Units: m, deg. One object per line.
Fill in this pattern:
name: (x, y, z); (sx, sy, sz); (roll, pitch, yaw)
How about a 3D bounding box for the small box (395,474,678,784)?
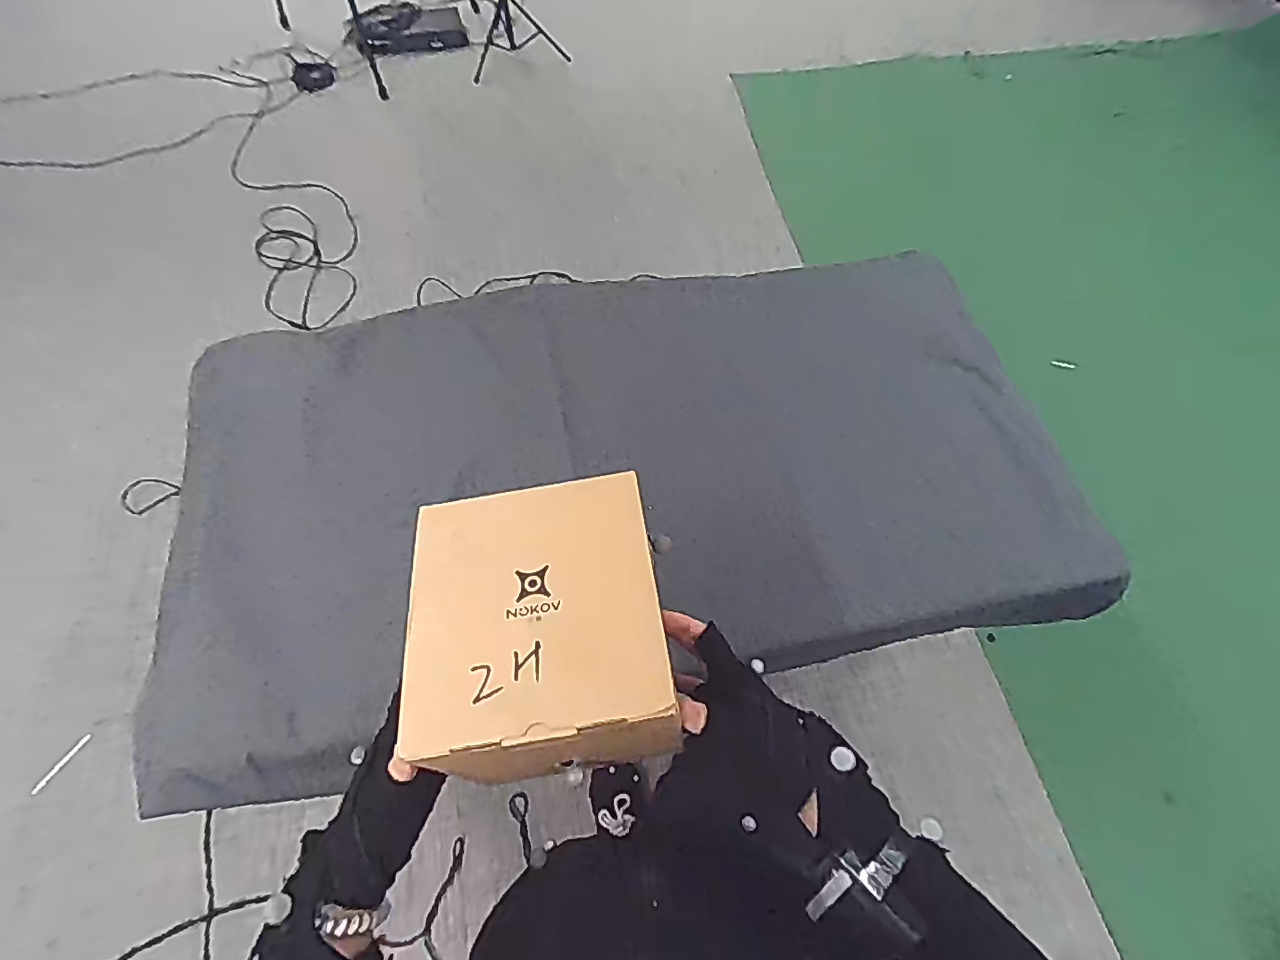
small box: (-0.066, 0.122, 0.424); (0.168, 0.176, 0.179); (-10, 57, 0)
